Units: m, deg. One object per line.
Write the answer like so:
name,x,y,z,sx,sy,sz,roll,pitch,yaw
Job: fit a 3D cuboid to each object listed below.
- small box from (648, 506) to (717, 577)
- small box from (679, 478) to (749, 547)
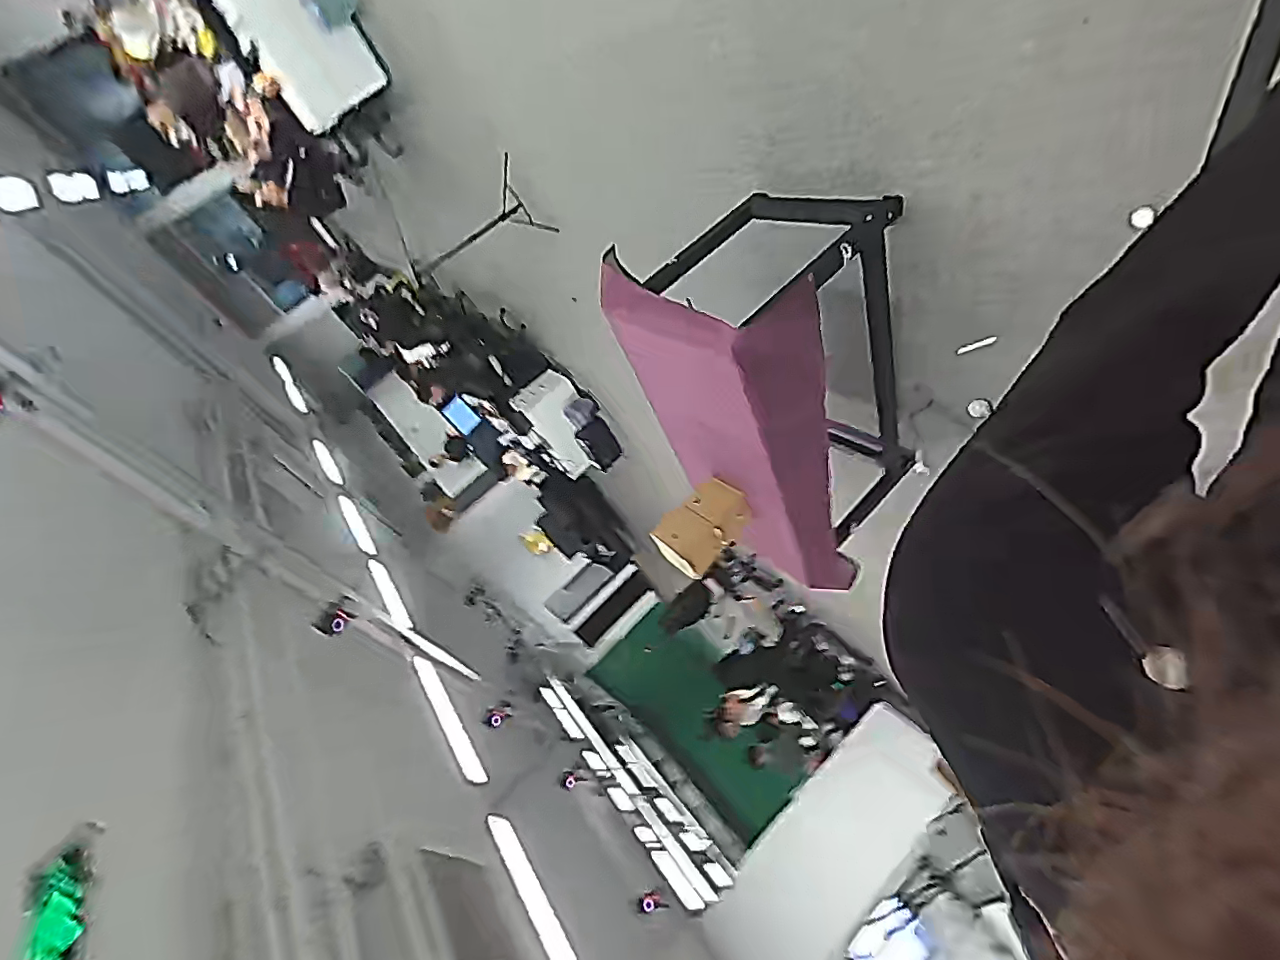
small box,0.168,0.225,2.037,0.179,0.176,0.168,33,161,49
small box,0.286,0.116,2.073,0.179,0.176,0.168,34,162,45
